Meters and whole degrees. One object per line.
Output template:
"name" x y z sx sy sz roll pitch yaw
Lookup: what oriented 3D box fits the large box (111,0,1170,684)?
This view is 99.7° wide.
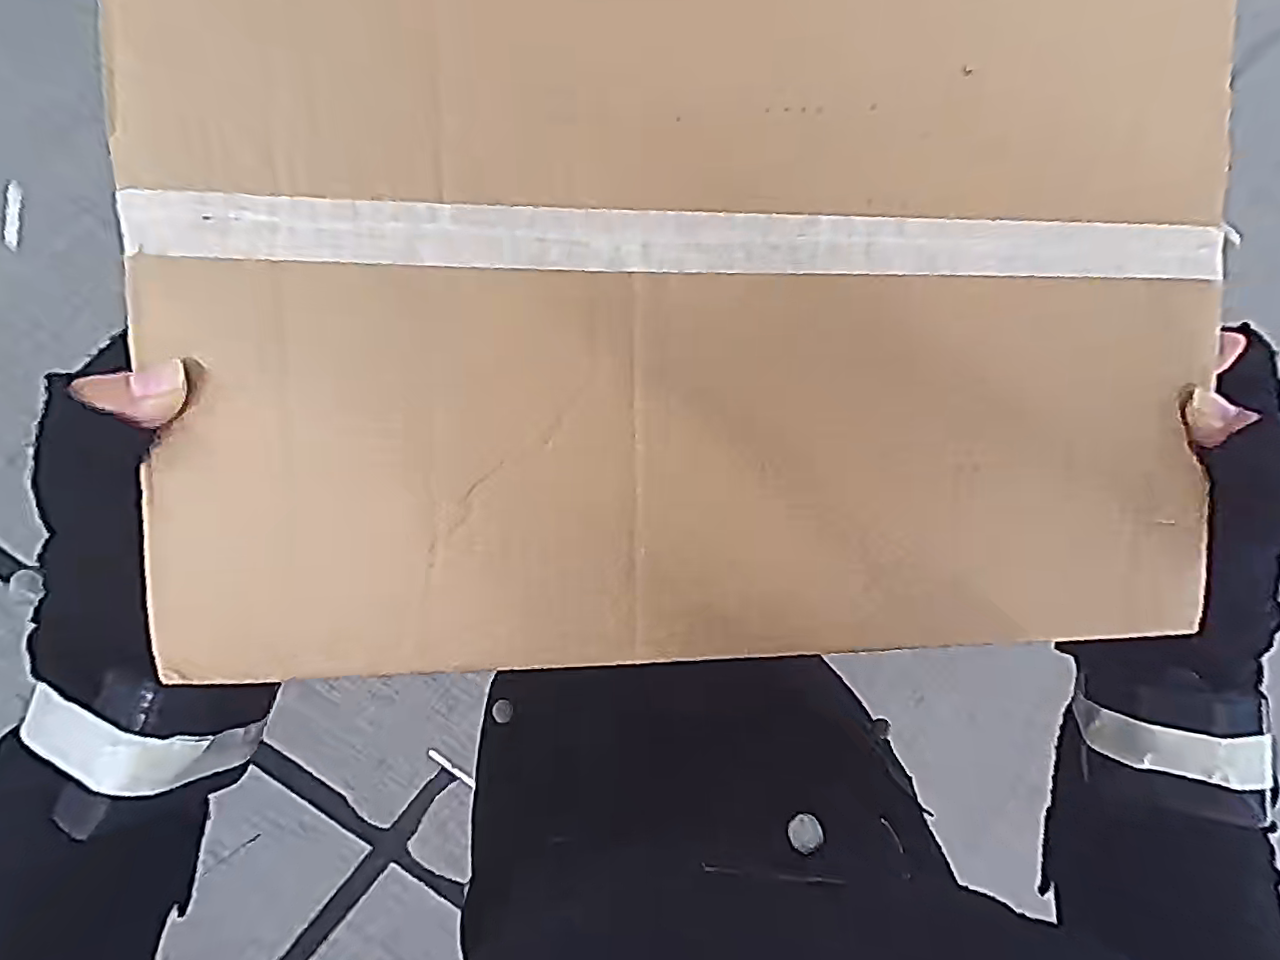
"large box" 0.008 -0.097 0.358 0.408 0.320 0.320 -2 94 -6
